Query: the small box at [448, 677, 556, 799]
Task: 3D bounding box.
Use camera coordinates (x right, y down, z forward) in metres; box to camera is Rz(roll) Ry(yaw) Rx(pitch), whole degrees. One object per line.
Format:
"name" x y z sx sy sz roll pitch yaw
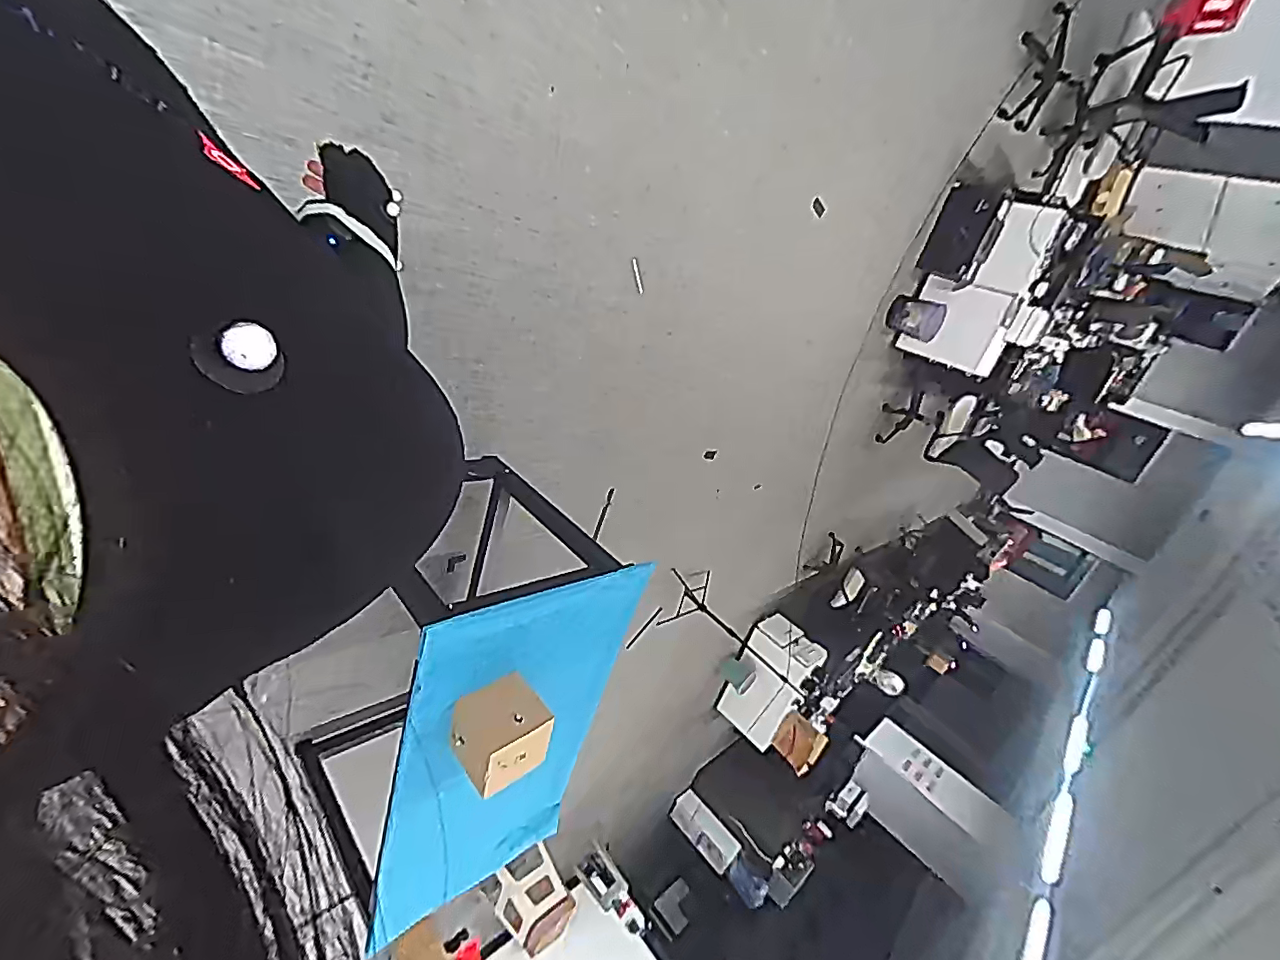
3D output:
"small box" -0.333 0.607 1.298 0.179 0.176 0.168 -7 123 -44
